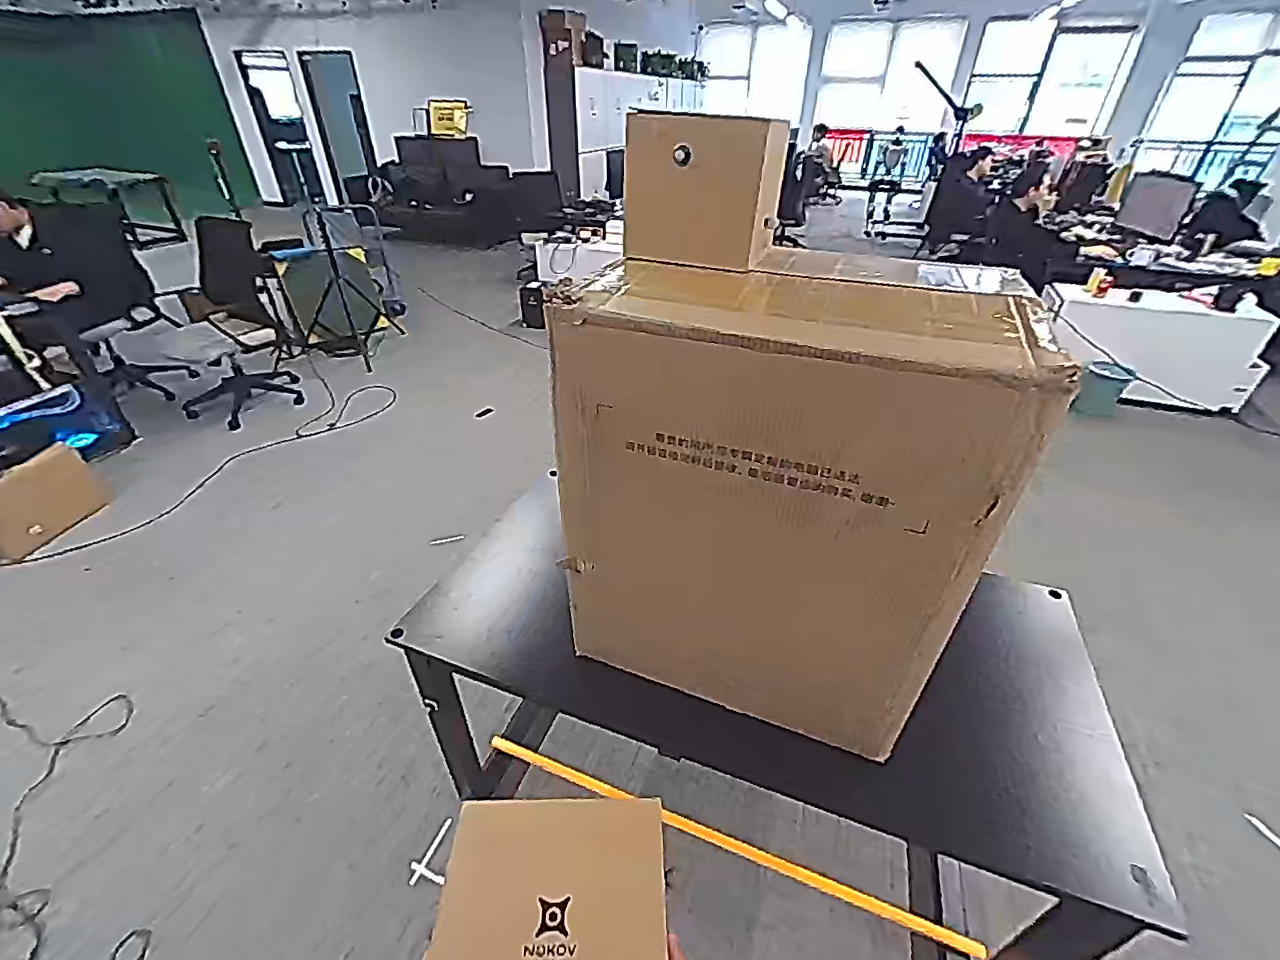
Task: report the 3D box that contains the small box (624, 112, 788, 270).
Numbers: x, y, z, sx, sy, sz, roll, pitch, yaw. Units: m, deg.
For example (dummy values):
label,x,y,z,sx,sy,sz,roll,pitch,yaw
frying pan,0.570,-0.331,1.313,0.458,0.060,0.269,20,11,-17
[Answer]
label,x,y,z,sx,sy,sz,roll,pitch,yaw
small box,0.086,-0.388,0.728,0.179,0.176,0.168,14,35,17

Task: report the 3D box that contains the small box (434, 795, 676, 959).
label,x,y,z,sx,sy,sz,roll,pitch,yaw
small box,-0.058,0.378,0.426,0.168,0.176,0.179,-1,37,-1
